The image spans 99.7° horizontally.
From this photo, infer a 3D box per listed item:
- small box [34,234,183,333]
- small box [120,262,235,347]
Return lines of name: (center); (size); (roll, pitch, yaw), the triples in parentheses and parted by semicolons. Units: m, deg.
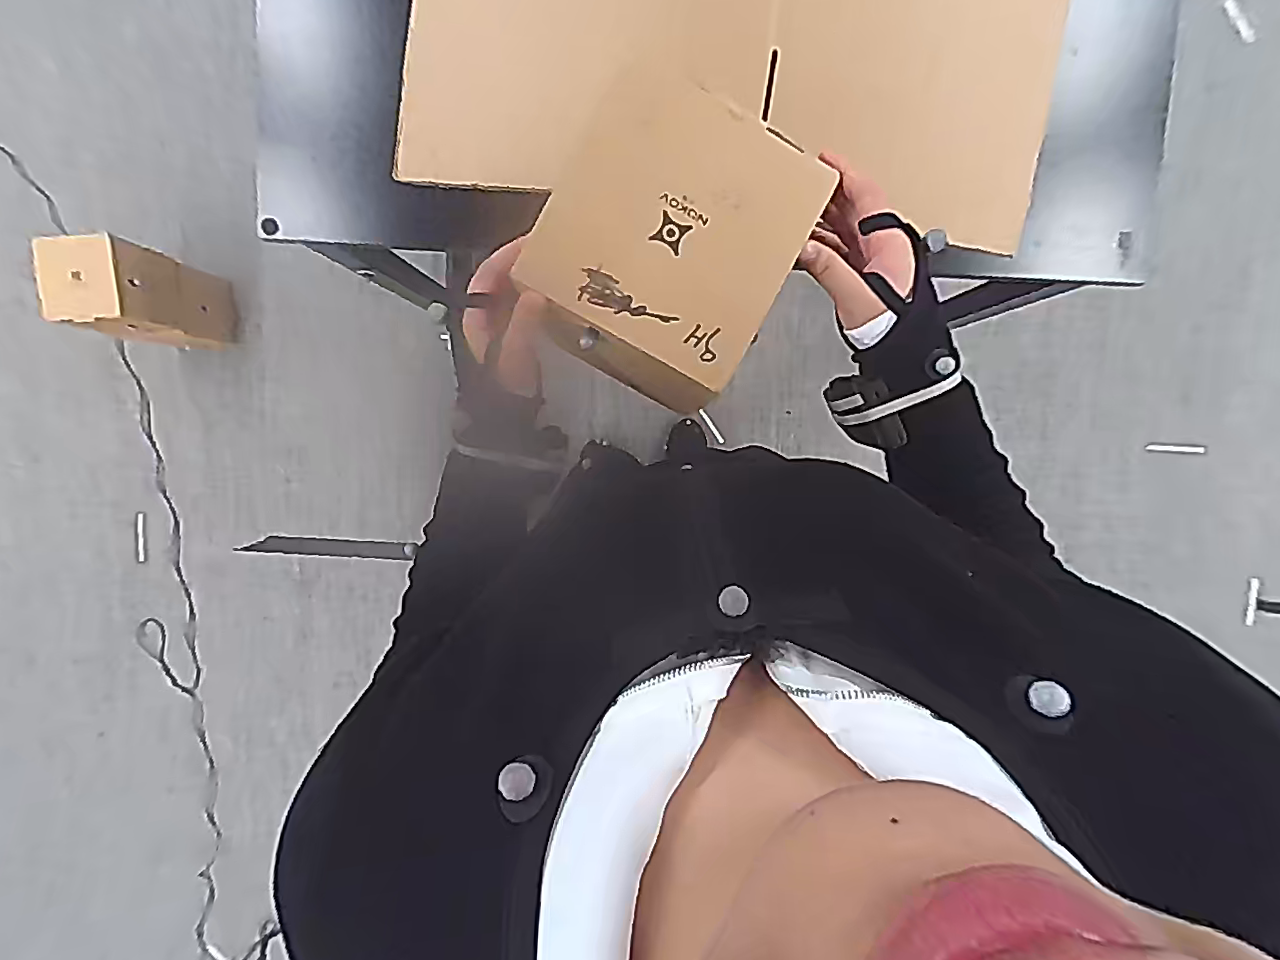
small box: (-1.184, -0.434, 1.220); (0.168, 0.176, 0.179); (-4, 95, 0)
small box: (-1.181, -0.443, 1.384); (0.168, 0.176, 0.179); (-1, 96, 1)
